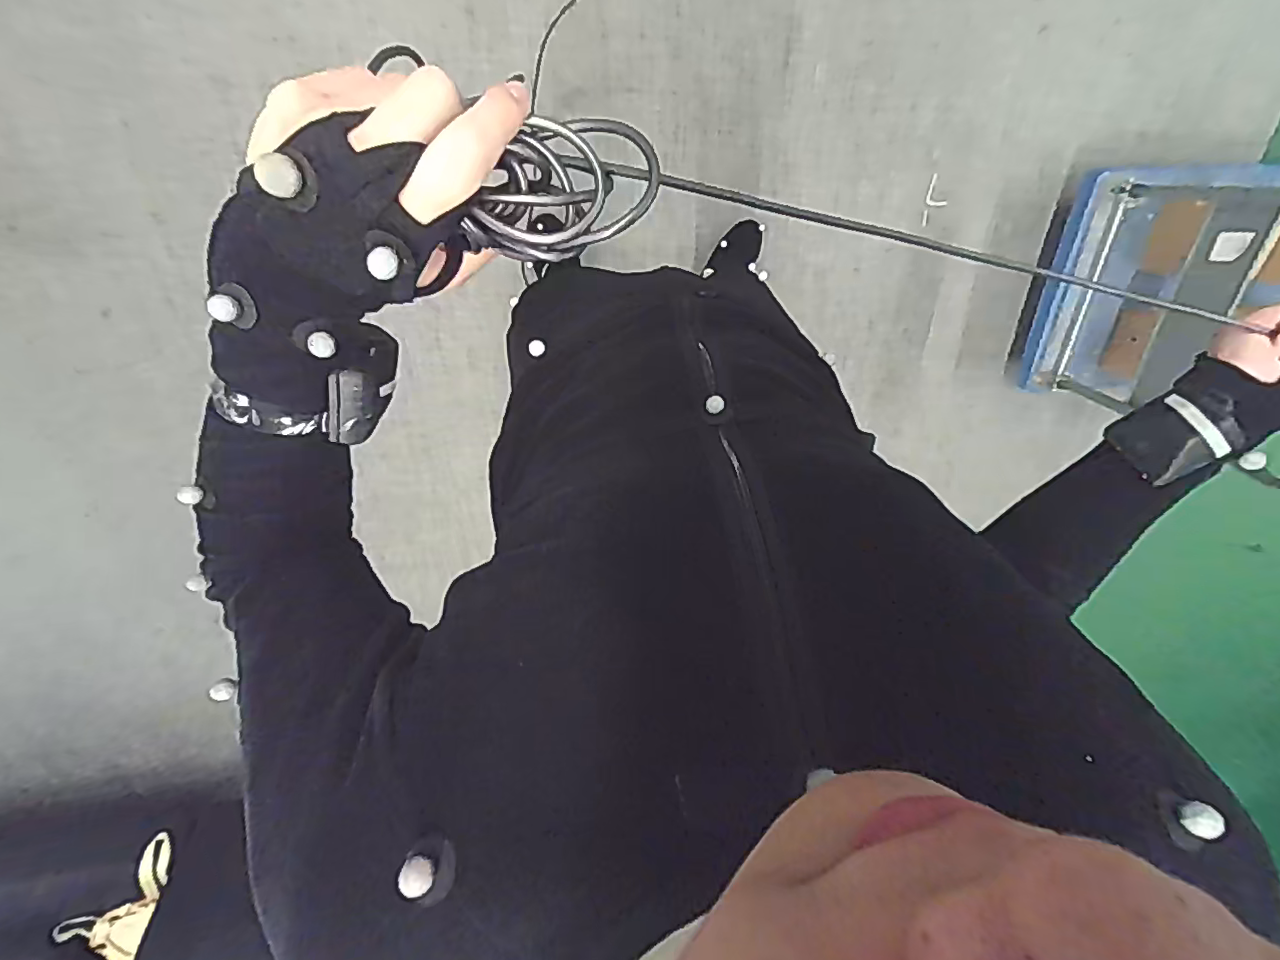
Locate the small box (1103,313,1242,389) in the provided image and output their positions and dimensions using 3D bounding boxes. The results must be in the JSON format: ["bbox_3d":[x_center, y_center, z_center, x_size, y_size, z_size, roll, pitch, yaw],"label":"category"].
[{"bbox_3d":[1.441,-0.357,1.477,0.179,0.176,0.168,-3,119,-6],"label":"small box"}]

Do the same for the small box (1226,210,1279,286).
[{"bbox_3d":[1.688,-0.594,1.382,0.179,0.176,0.168,-7,120,-4],"label":"small box"}]

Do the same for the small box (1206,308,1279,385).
[{"bbox_3d":[1.709,-0.376,1.505,0.179,0.176,0.168,-7,119,-3],"label":"small box"}]
